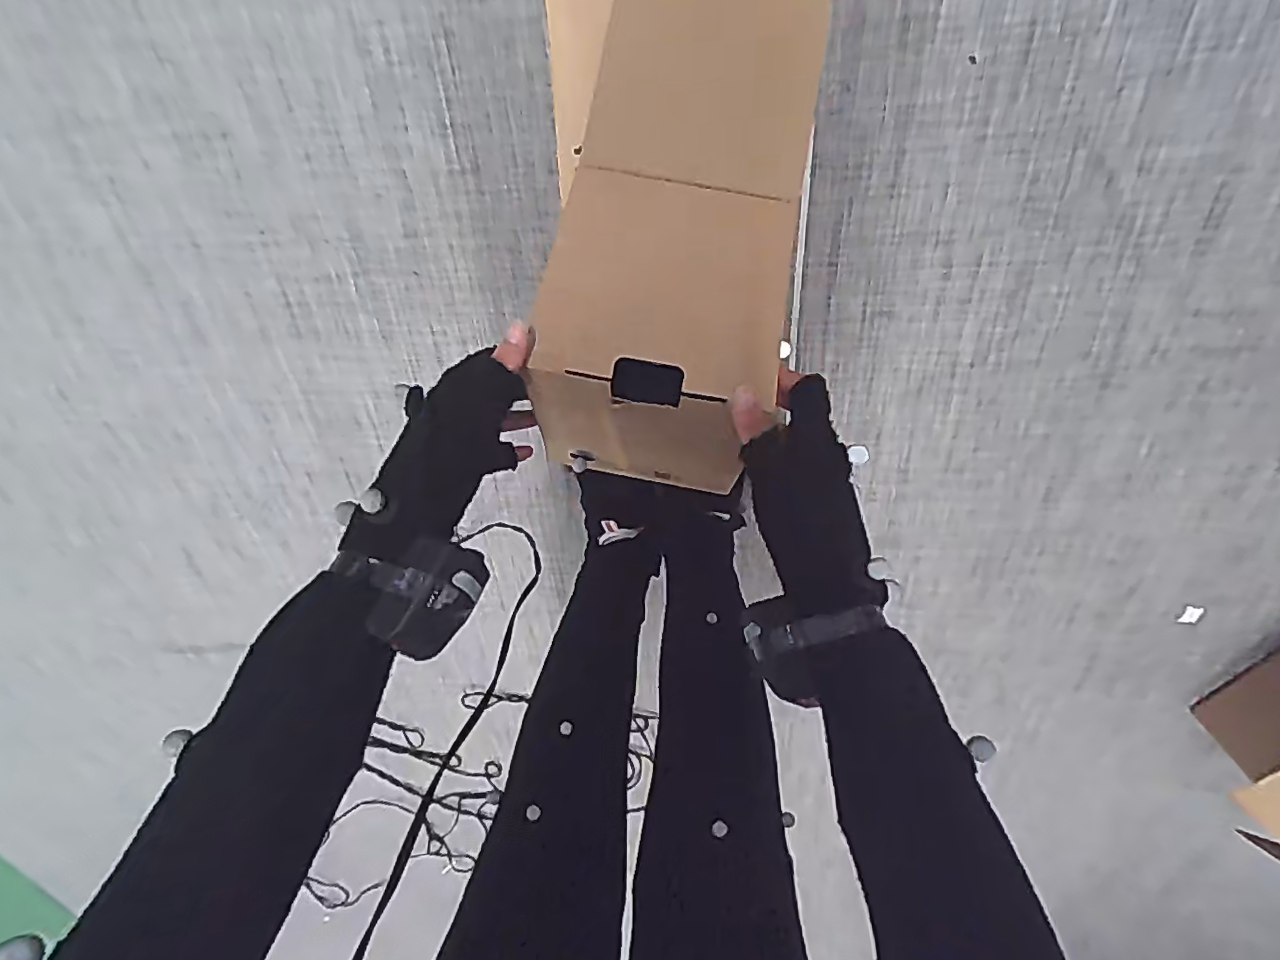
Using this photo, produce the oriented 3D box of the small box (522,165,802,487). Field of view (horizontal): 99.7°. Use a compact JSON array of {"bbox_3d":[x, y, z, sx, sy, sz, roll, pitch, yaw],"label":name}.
[{"bbox_3d":[0.019,-0.109,0.438,0.168,0.179,0.176,11,159,2],"label":"small box"}]
